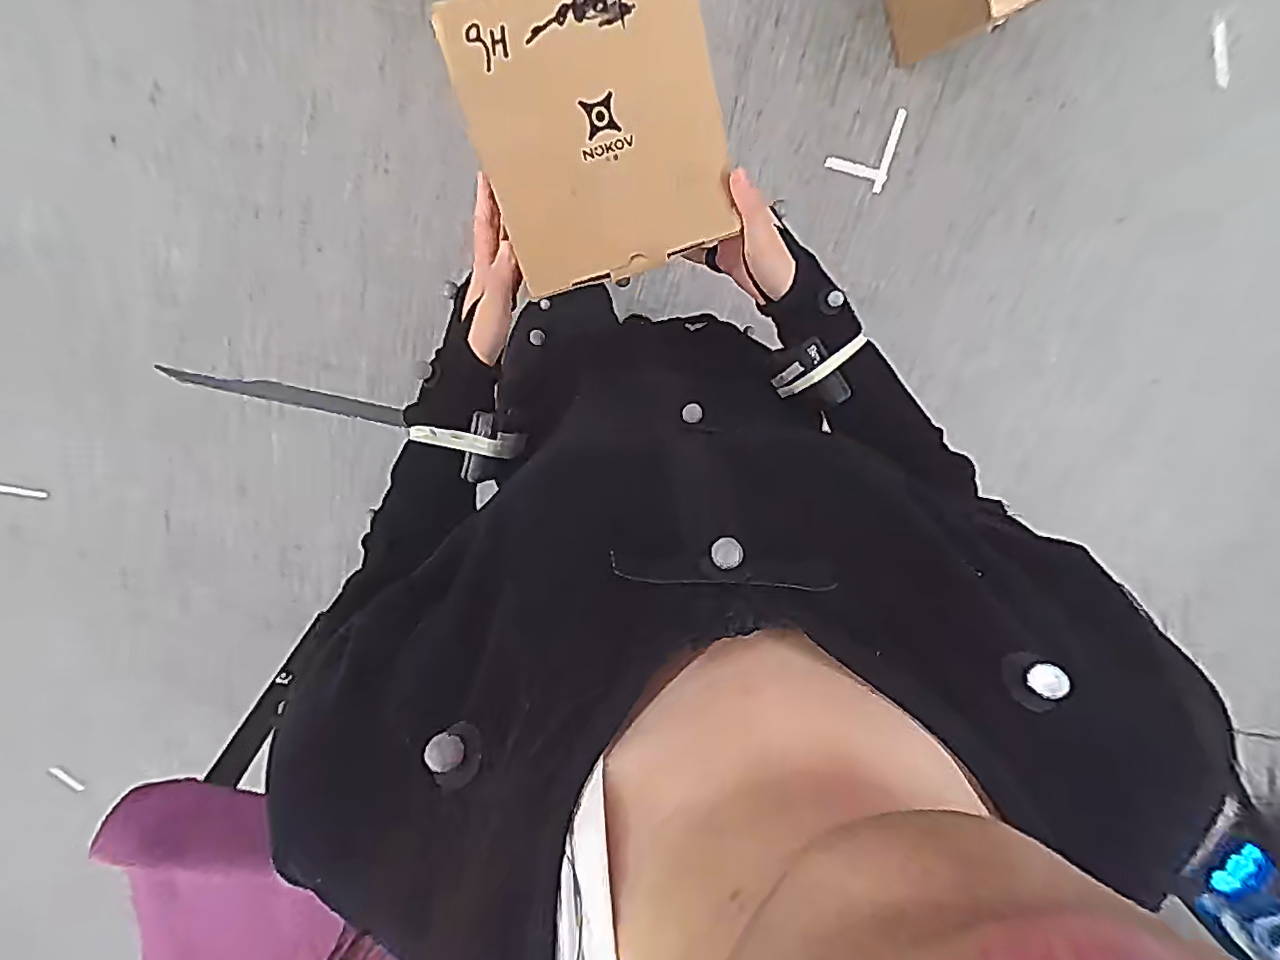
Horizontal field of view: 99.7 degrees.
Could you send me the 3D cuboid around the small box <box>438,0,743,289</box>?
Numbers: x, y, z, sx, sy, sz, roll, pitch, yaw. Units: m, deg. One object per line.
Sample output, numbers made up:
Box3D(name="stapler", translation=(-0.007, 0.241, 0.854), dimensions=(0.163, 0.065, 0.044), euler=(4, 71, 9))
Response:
Box3D(name="small box", translation=(-0.038, -0.267, 0.427), dimensions=(0.168, 0.176, 0.179), euler=(-20, 115, -5))
